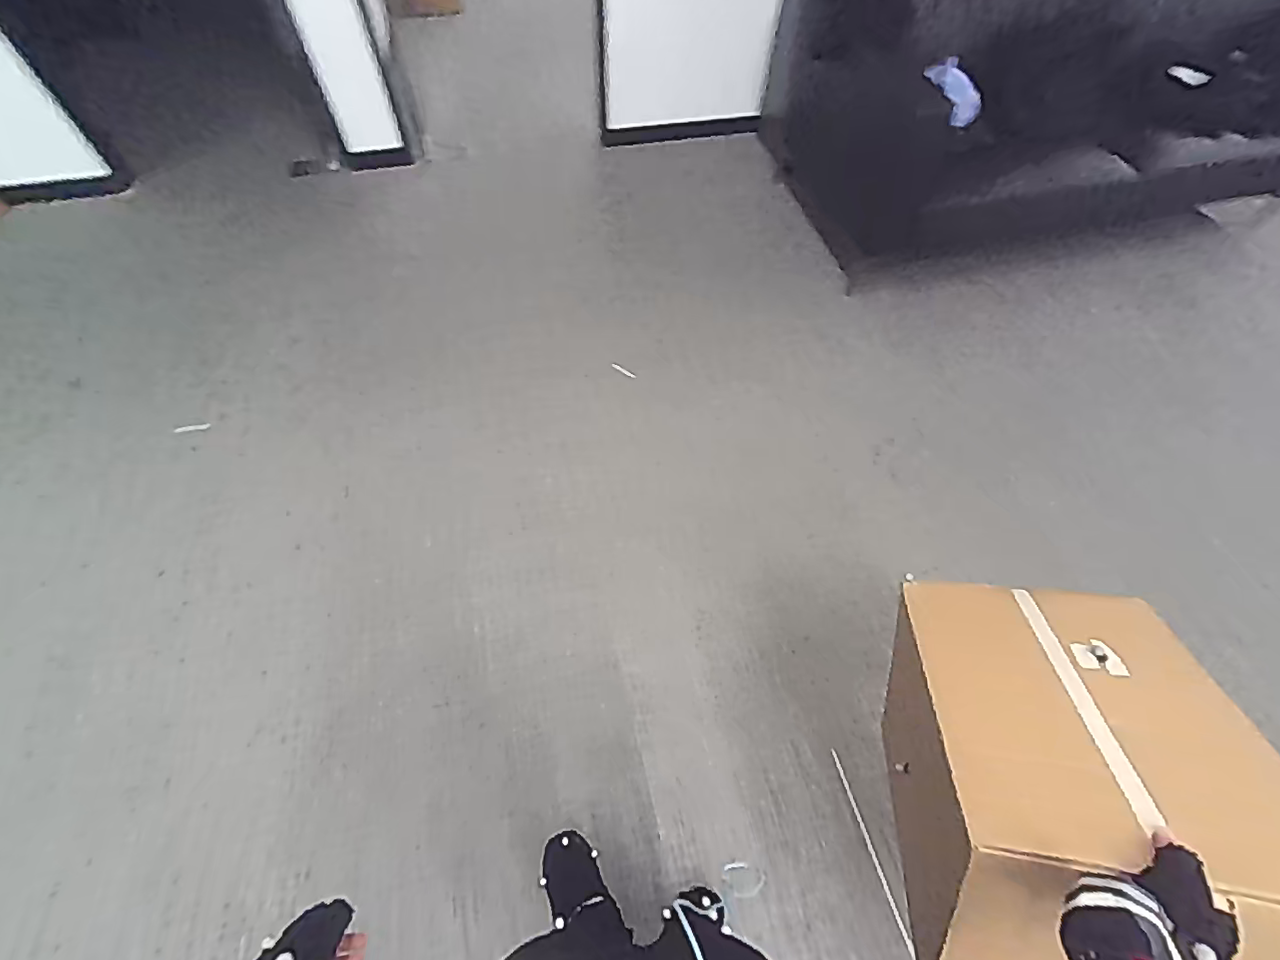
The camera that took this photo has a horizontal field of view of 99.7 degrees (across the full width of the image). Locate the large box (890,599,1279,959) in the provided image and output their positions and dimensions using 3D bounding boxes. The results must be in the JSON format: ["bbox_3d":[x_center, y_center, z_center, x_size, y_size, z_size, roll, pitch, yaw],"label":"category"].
[{"bbox_3d":[0.520,0.406,0.683,0.320,0.320,0.408,3,25,16],"label":"large box"}]
